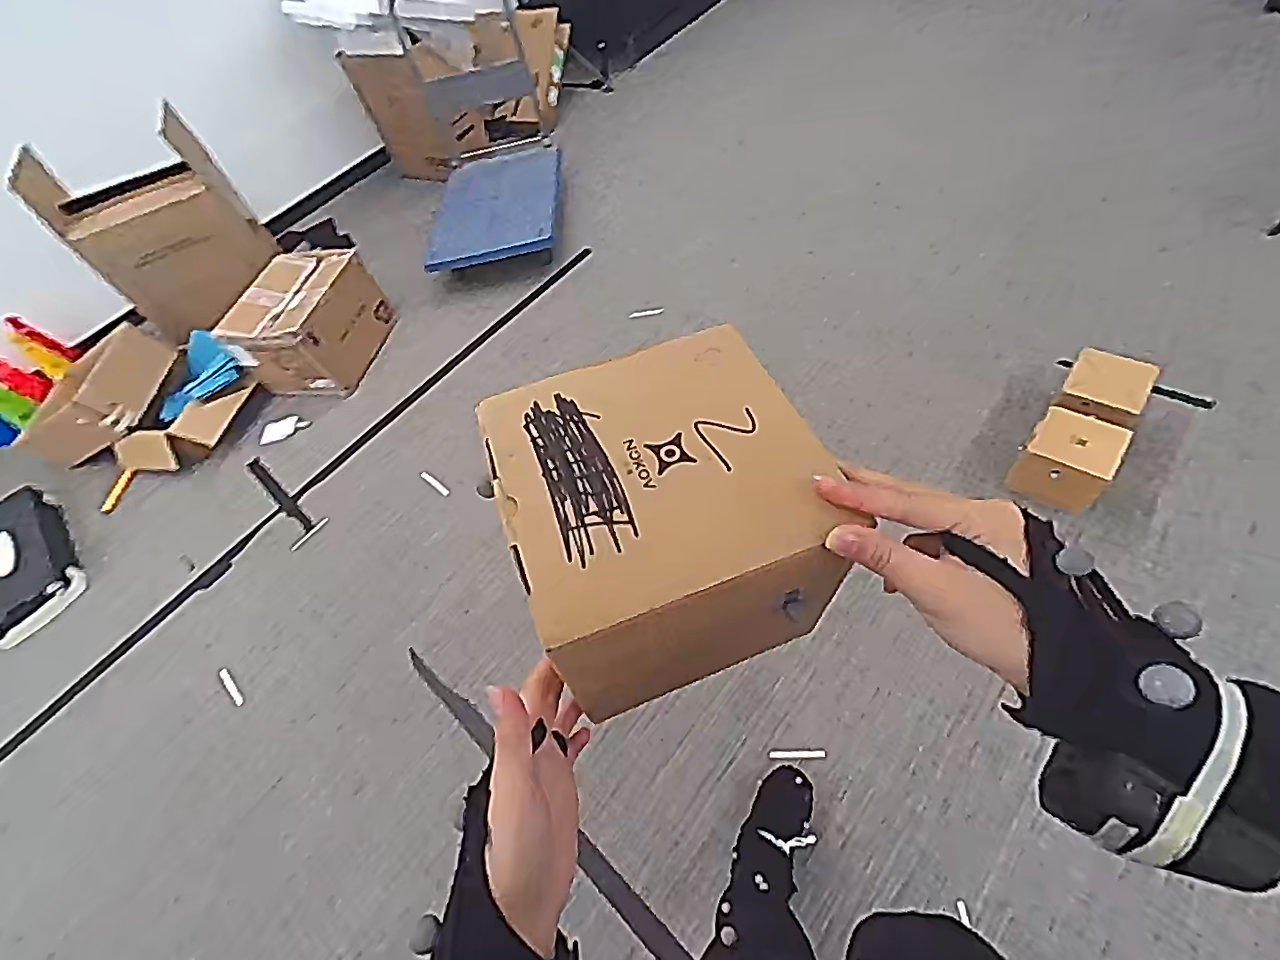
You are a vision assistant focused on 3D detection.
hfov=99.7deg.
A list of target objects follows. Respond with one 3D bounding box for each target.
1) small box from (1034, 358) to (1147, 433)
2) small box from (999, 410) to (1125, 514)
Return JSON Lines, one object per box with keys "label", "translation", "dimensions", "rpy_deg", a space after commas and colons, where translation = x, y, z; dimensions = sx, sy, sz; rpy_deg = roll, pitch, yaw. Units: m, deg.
{"label": "small box", "translation": [1.188, -0.202, 1.433], "dimensions": [0.168, 0.176, 0.179], "rpy_deg": [28, 67, 28]}
{"label": "small box", "translation": [1.052, -0.039, 1.361], "dimensions": [0.179, 0.176, 0.168], "rpy_deg": [30, 68, 29]}
